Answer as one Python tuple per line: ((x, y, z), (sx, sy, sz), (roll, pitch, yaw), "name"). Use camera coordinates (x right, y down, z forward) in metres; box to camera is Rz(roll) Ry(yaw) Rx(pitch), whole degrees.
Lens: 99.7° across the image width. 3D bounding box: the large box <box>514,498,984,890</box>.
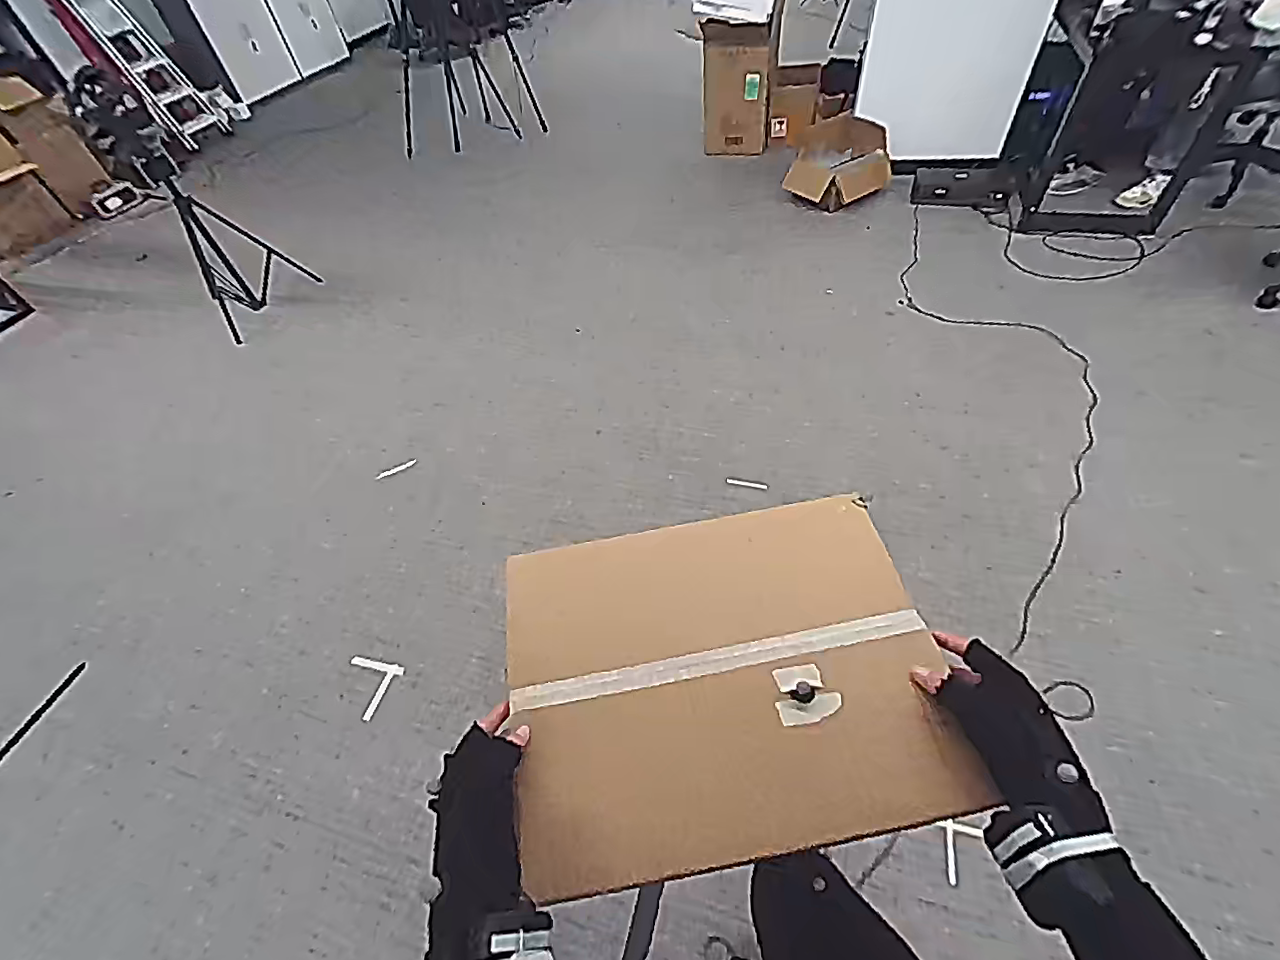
((0.086, 0.266, 0.657), (0.408, 0.320, 0.320), (-10, 54, -2), "large box")
